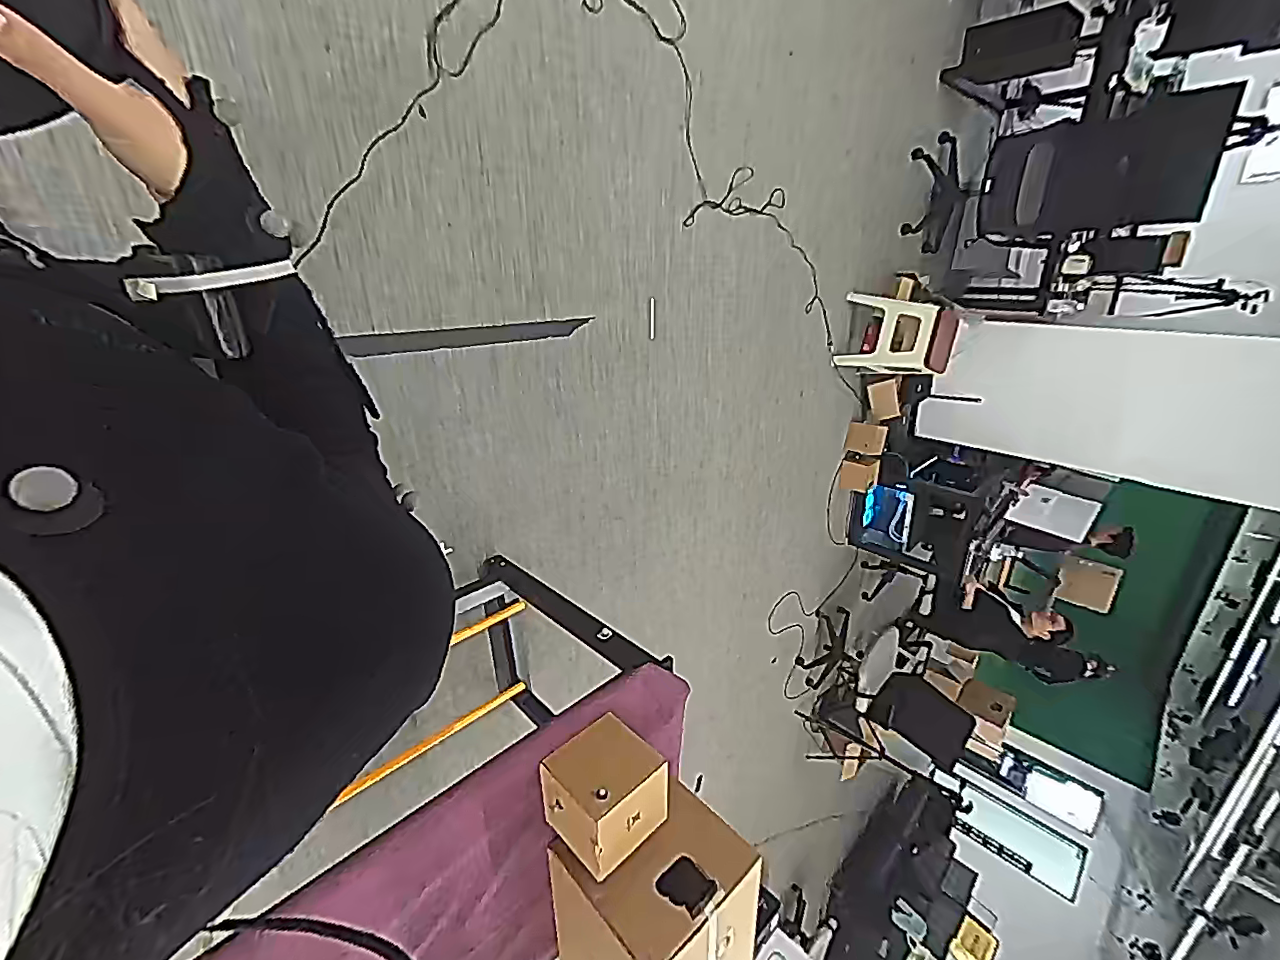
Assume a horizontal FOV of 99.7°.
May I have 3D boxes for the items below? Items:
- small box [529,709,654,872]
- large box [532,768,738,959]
[{"bbox_3d":[-0.092,0.585,1.045,0.179,0.176,0.168,-22,122,-39],"label":"small box"},{"bbox_3d":[-0.008,0.911,1.162,0.320,0.320,0.408,-19,117,-39],"label":"large box"}]
